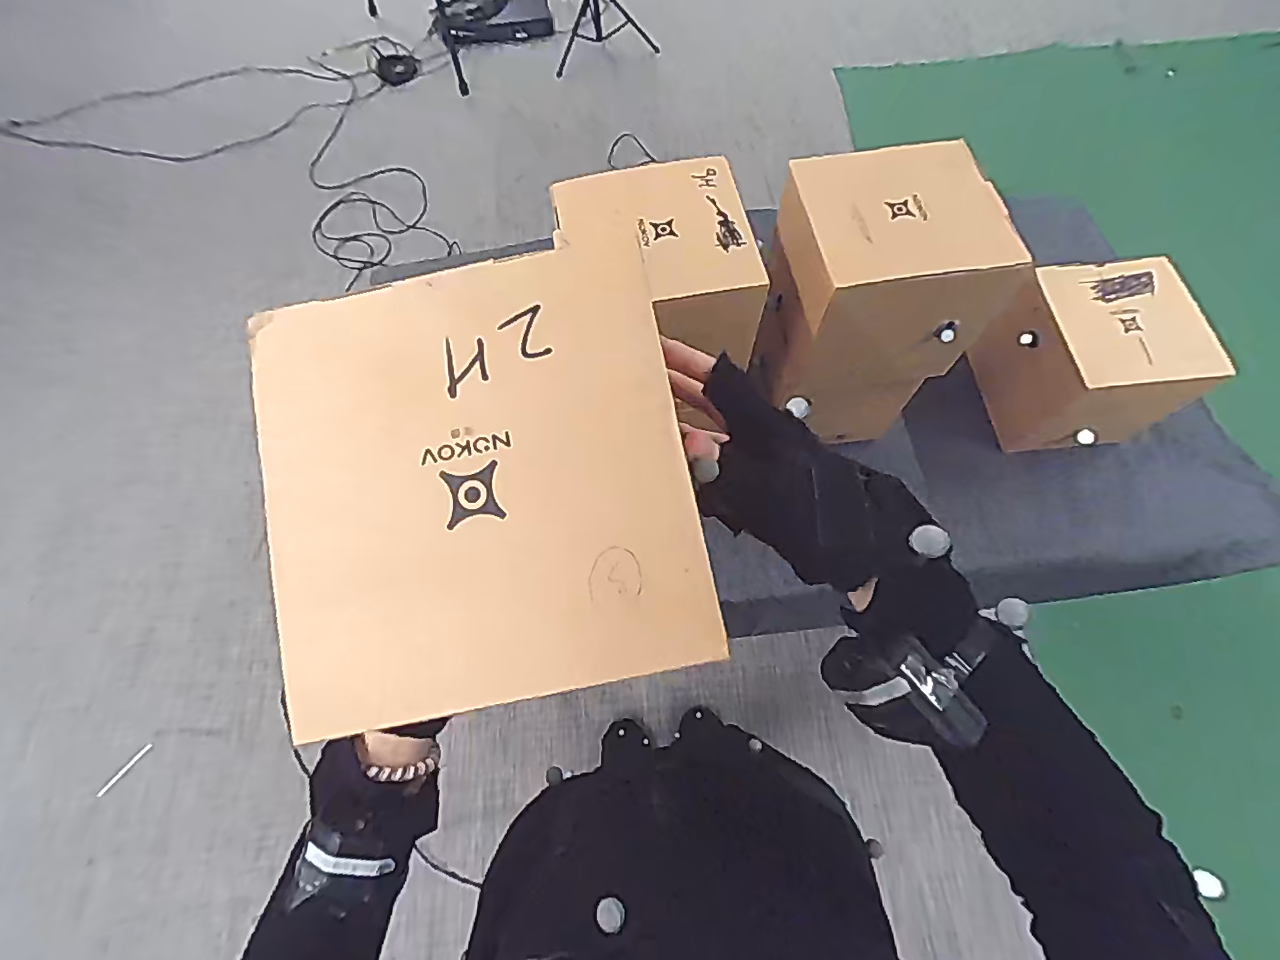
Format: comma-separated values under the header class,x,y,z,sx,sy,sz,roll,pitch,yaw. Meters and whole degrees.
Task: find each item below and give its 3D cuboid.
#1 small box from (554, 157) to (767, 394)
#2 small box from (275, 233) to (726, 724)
class,x,y,z,sx,sy,sz,roll,pitch,yaw
small box,0.019,-0.198,0.573,0.179,0.176,0.168,-11,68,-1
small box,-0.056,0.006,0.295,0.168,0.176,0.179,-12,80,1
